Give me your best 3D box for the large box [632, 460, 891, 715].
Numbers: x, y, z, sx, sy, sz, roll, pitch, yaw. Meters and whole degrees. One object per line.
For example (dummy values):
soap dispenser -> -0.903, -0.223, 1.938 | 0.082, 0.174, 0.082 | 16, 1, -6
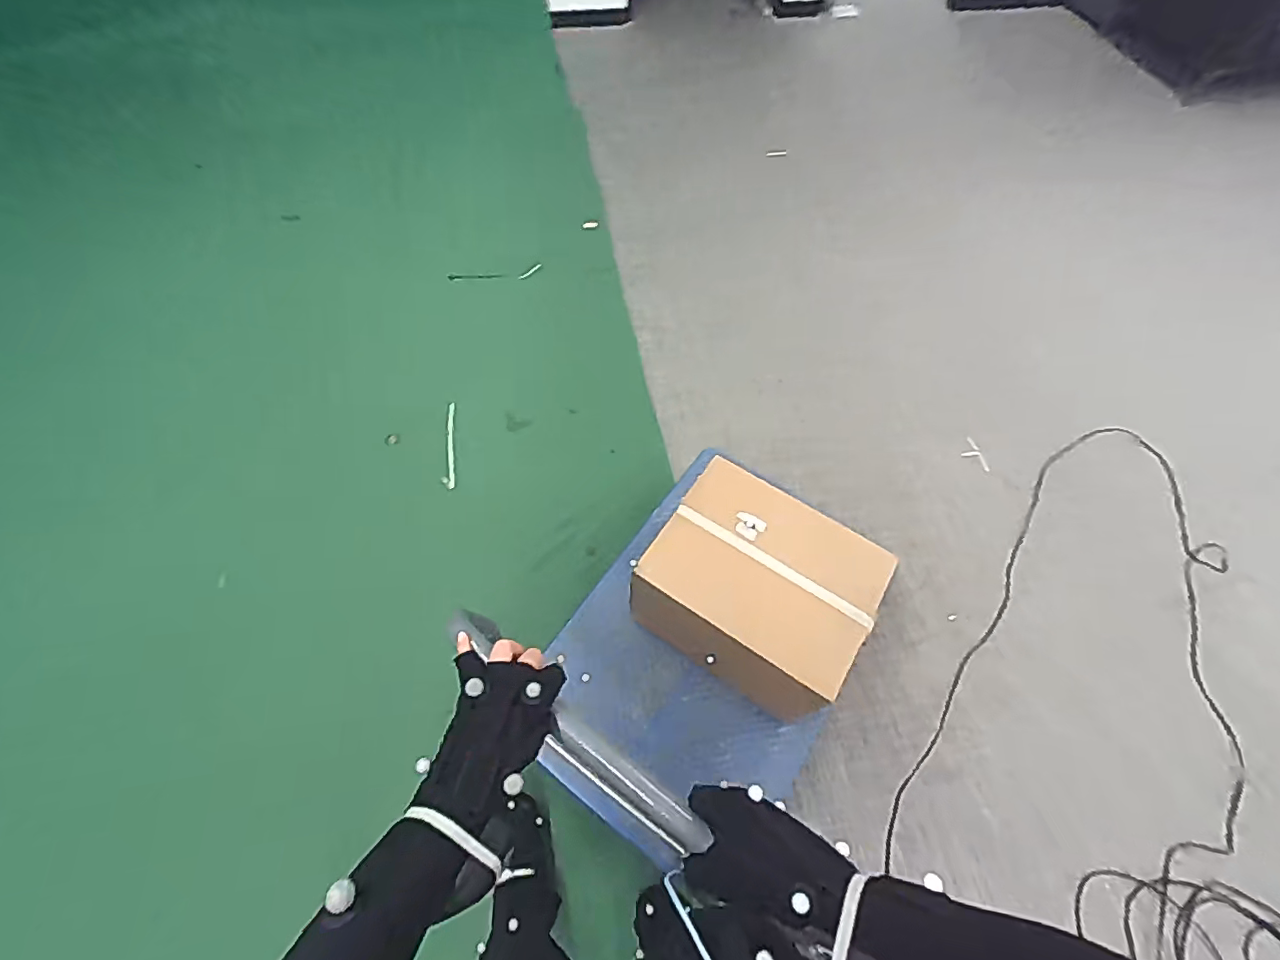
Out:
large box -> 0.232, 0.234, 1.144 | 0.408, 0.320, 0.320 | 31, 63, 16
